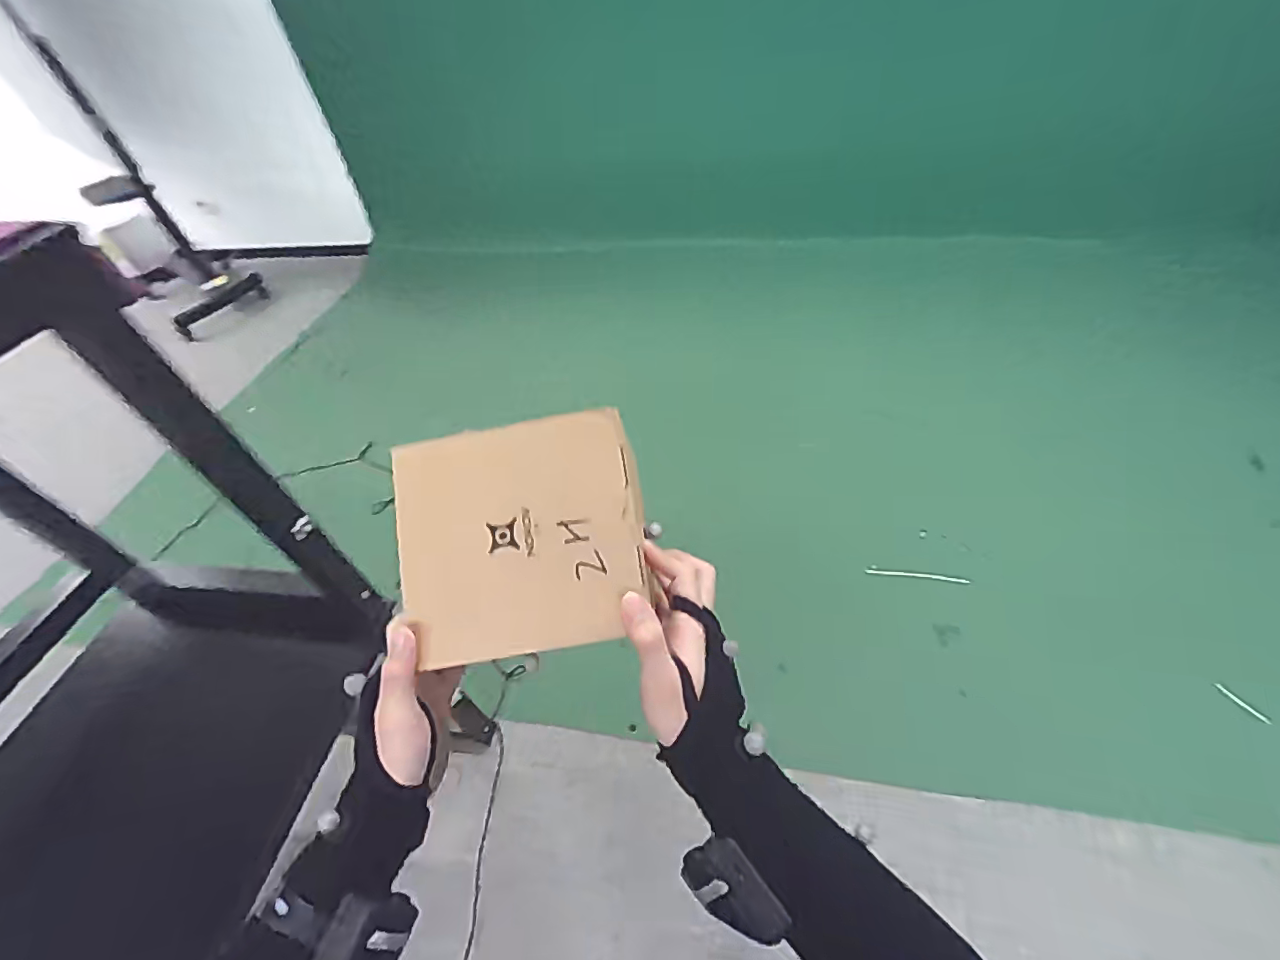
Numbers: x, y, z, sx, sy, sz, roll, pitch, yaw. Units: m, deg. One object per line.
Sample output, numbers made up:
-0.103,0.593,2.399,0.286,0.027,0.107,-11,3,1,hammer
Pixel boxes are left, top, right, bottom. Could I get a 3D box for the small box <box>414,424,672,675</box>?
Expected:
-0.072,0.067,0.472,0.179,0.176,0.168,-10,76,3,small box
